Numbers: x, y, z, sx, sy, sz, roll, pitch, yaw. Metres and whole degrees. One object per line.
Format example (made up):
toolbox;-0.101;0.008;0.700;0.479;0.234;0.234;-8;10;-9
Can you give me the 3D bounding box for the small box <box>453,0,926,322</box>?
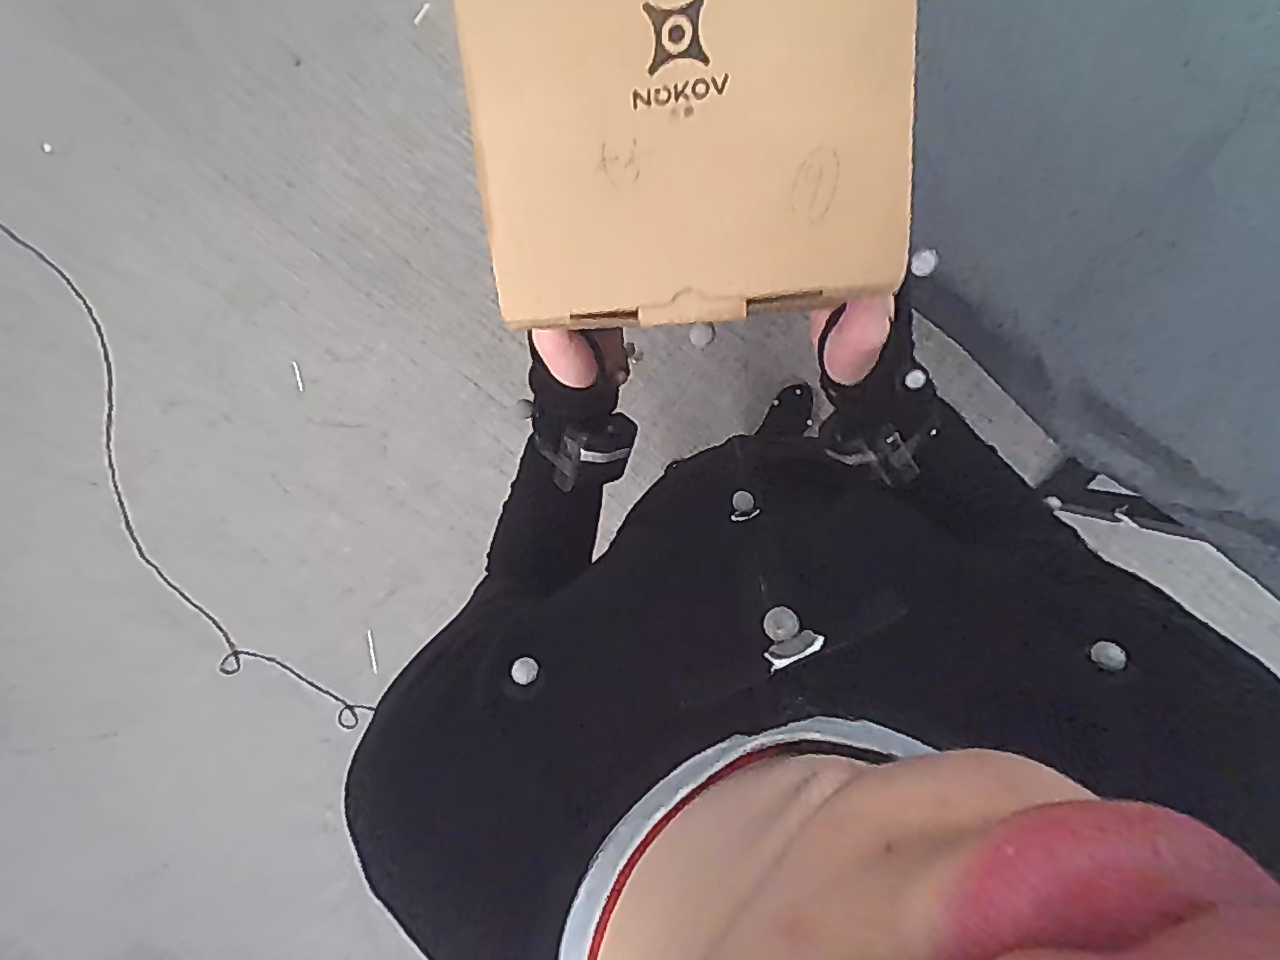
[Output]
small box;0.024;-0.177;0.268;0.168;0.176;0.179;-3;106;7
